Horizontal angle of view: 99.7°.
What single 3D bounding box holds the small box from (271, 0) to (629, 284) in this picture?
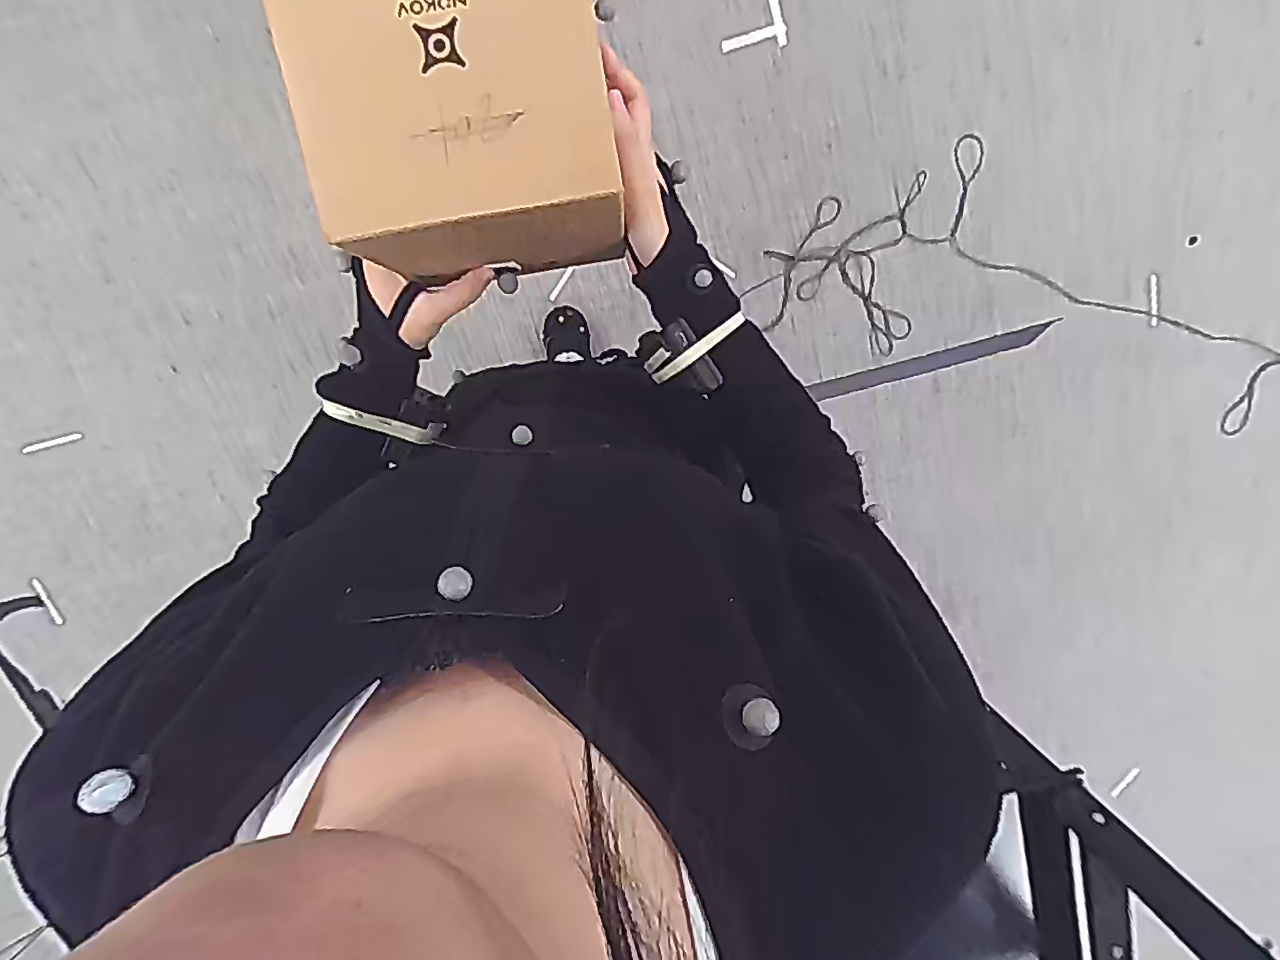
[{"bbox_3d":[-0.102,-0.244,0.353,0.168,0.176,0.179,-10,101,2],"label":"small box"}]
